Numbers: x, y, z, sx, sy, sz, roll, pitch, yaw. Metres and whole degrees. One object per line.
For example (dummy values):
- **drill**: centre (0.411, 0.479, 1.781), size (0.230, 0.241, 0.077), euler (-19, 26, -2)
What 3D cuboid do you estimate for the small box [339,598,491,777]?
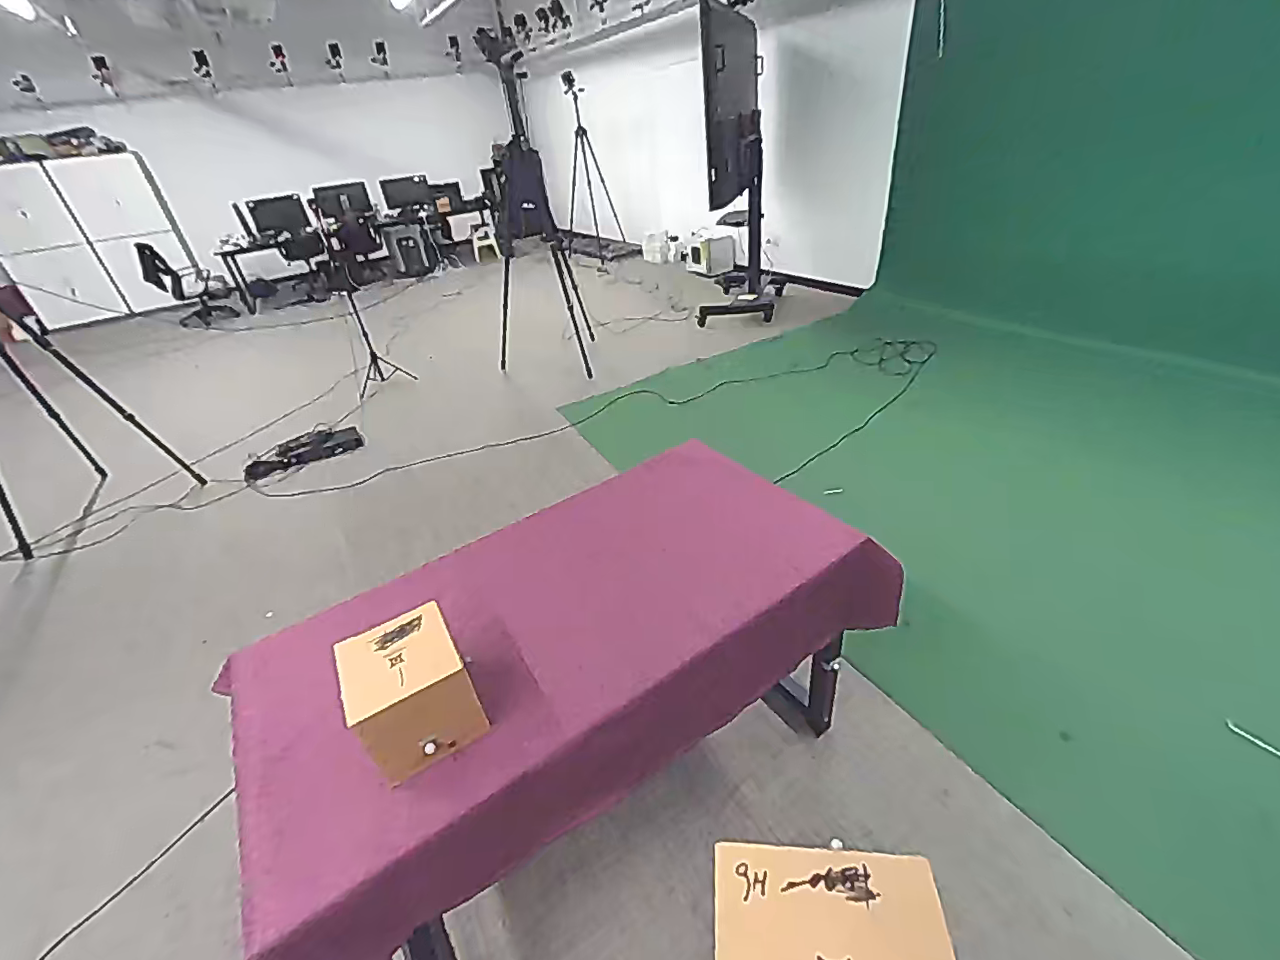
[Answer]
- **small box**: centre (-0.363, 0.333, 0.880), size (0.168, 0.176, 0.179), euler (-24, 38, -23)

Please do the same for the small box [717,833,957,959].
- **small box**: centre (0.147, 0.406, 0.423), size (0.168, 0.176, 0.179), euler (-2, 41, 9)
